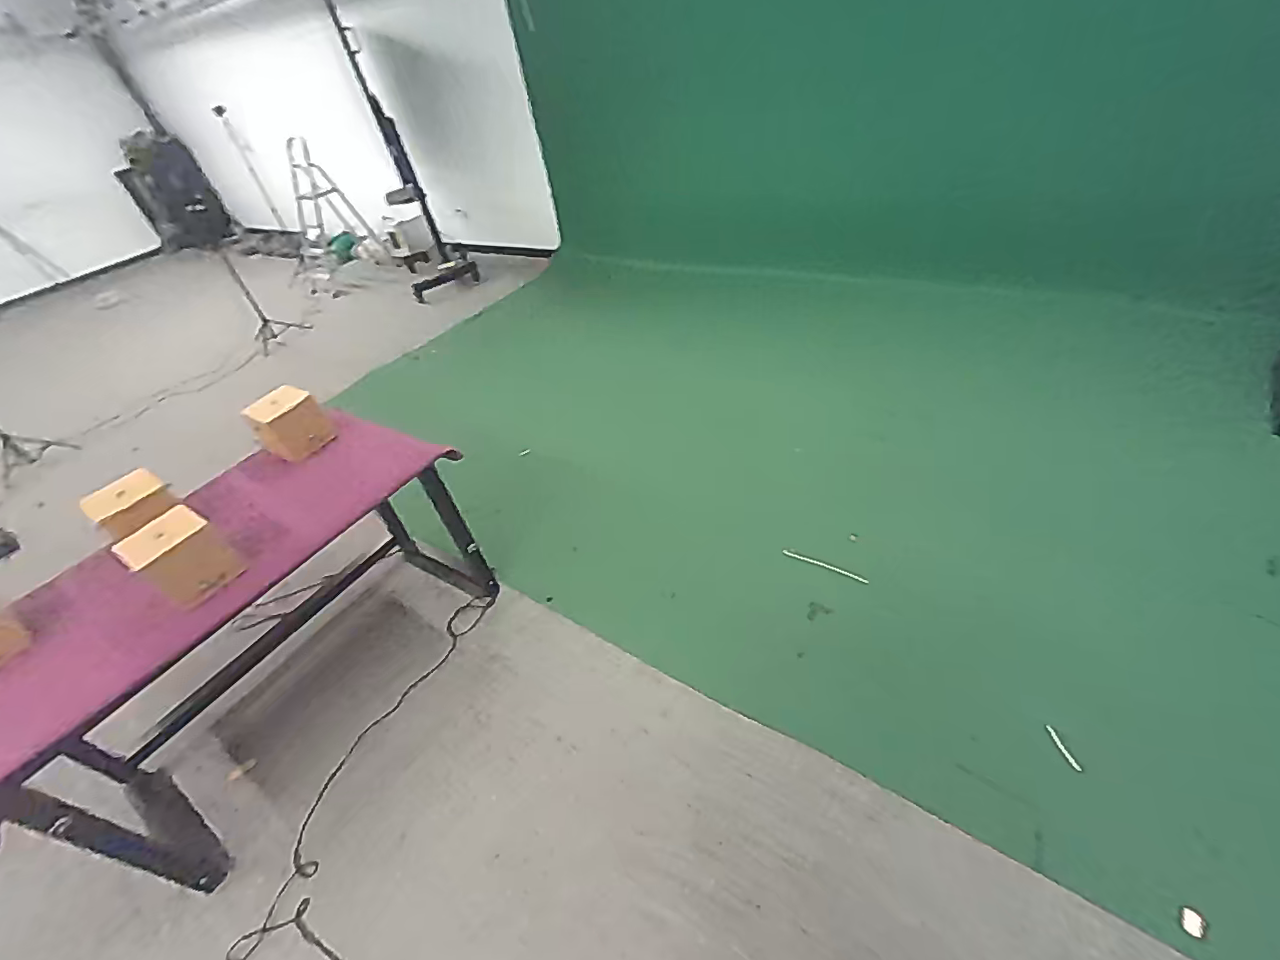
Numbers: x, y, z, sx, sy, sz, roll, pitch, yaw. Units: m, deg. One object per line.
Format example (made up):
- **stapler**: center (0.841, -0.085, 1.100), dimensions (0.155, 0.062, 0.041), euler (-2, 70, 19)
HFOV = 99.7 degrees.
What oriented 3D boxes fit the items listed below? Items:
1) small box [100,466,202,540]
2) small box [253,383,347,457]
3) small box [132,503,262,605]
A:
- **small box**: center (-1.382, 0.093, 1.559), dimensions (0.179, 0.176, 0.168), euler (22, 51, 31)
- **small box**: center (-1.131, -0.198, 1.806), dimensions (0.179, 0.176, 0.168), euler (18, 53, 30)
- **small box**: center (-1.124, 0.190, 1.383), dimensions (0.179, 0.176, 0.168), euler (18, 51, 32)
